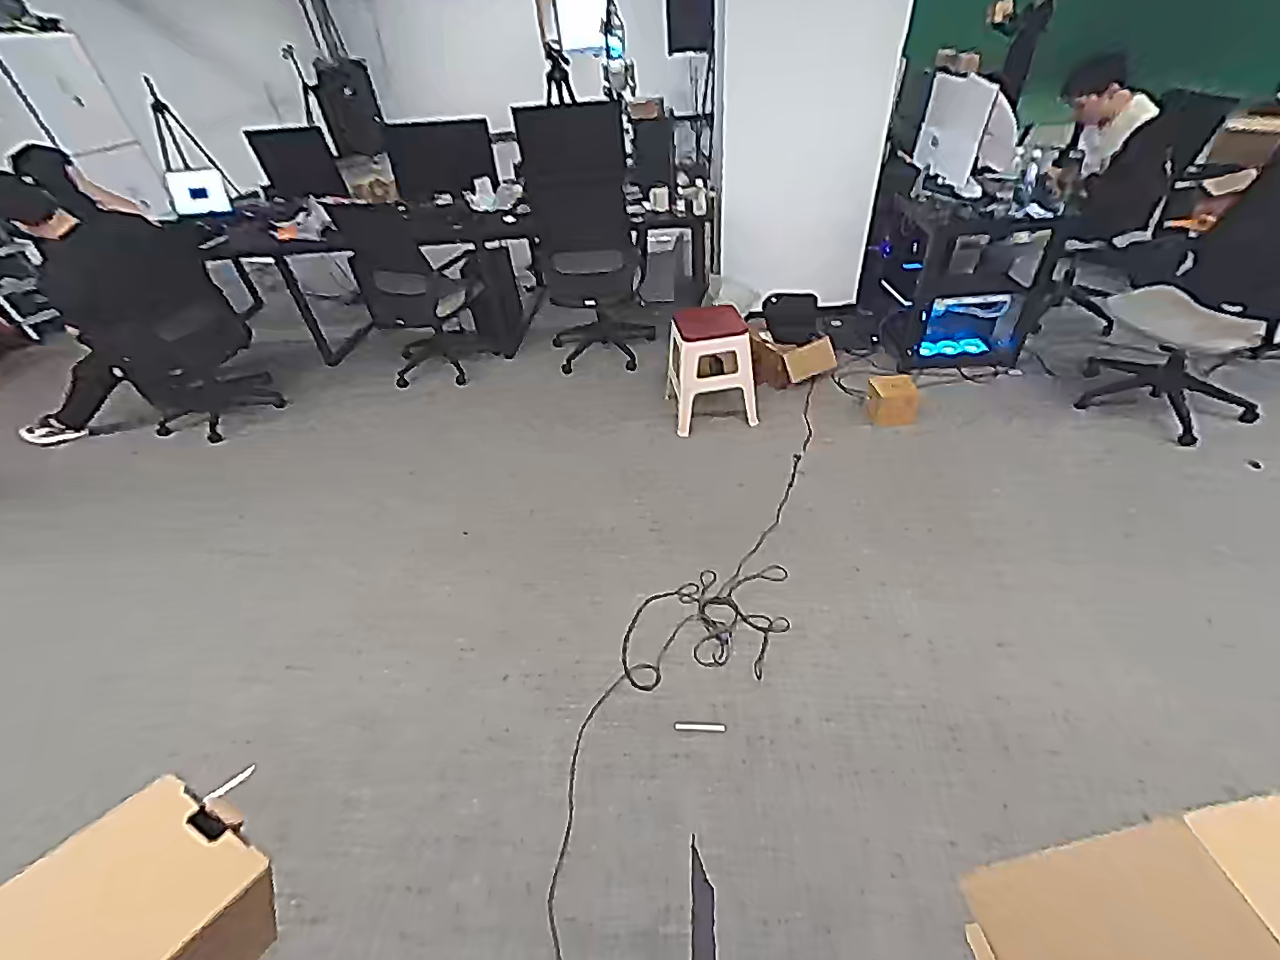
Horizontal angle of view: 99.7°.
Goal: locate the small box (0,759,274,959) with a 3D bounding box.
[{"bbox_3d":[-0.493,0.430,0.527,0.168,0.176,0.179,27,29,15],"label":"small box"}]
